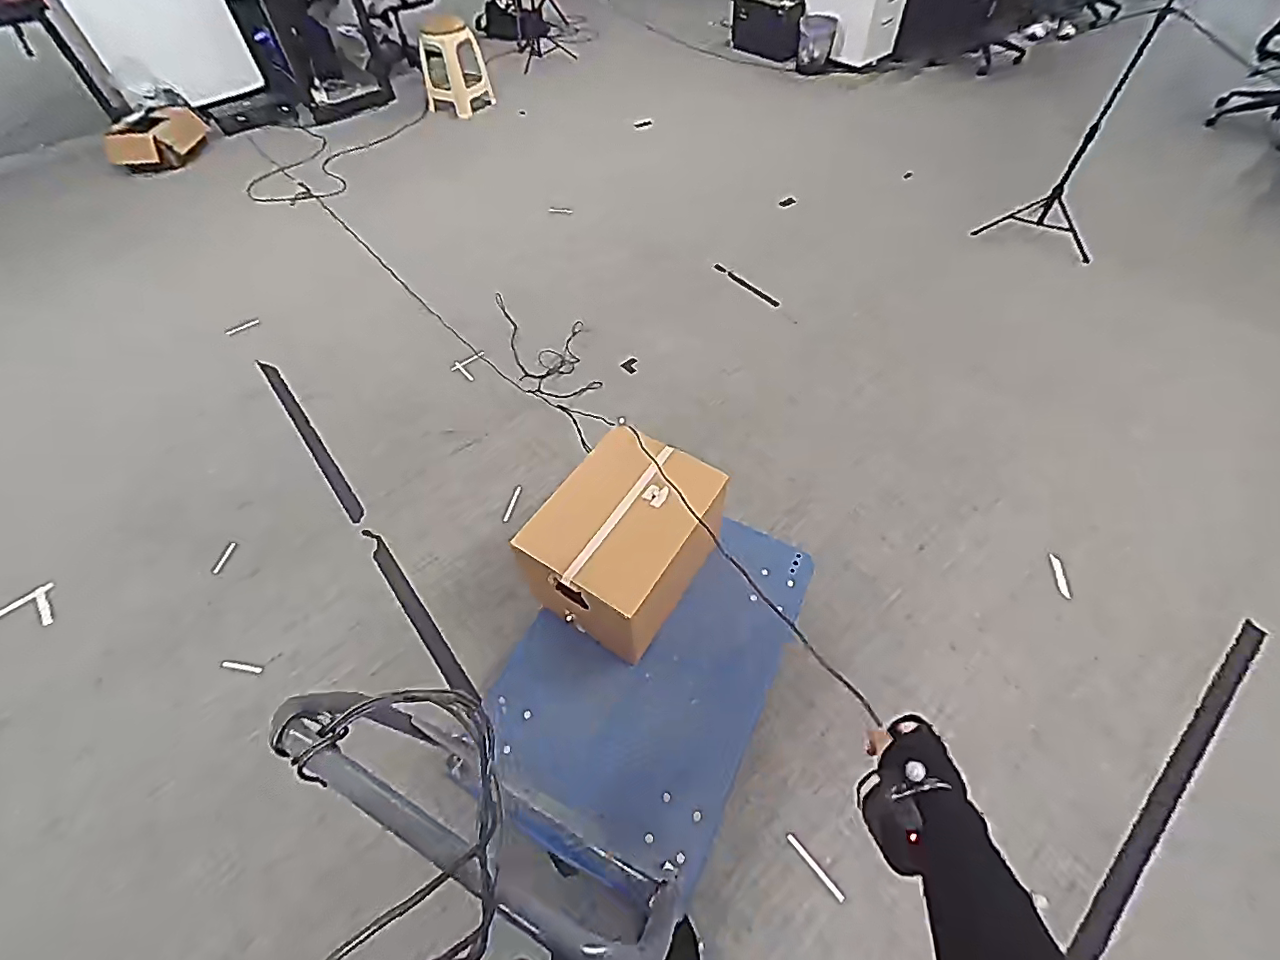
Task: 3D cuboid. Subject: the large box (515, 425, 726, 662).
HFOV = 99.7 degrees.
[{"bbox_3d":[-0.032,0.151,1.301,0.320,0.320,0.408,28,60,20],"label":"large box"}]
